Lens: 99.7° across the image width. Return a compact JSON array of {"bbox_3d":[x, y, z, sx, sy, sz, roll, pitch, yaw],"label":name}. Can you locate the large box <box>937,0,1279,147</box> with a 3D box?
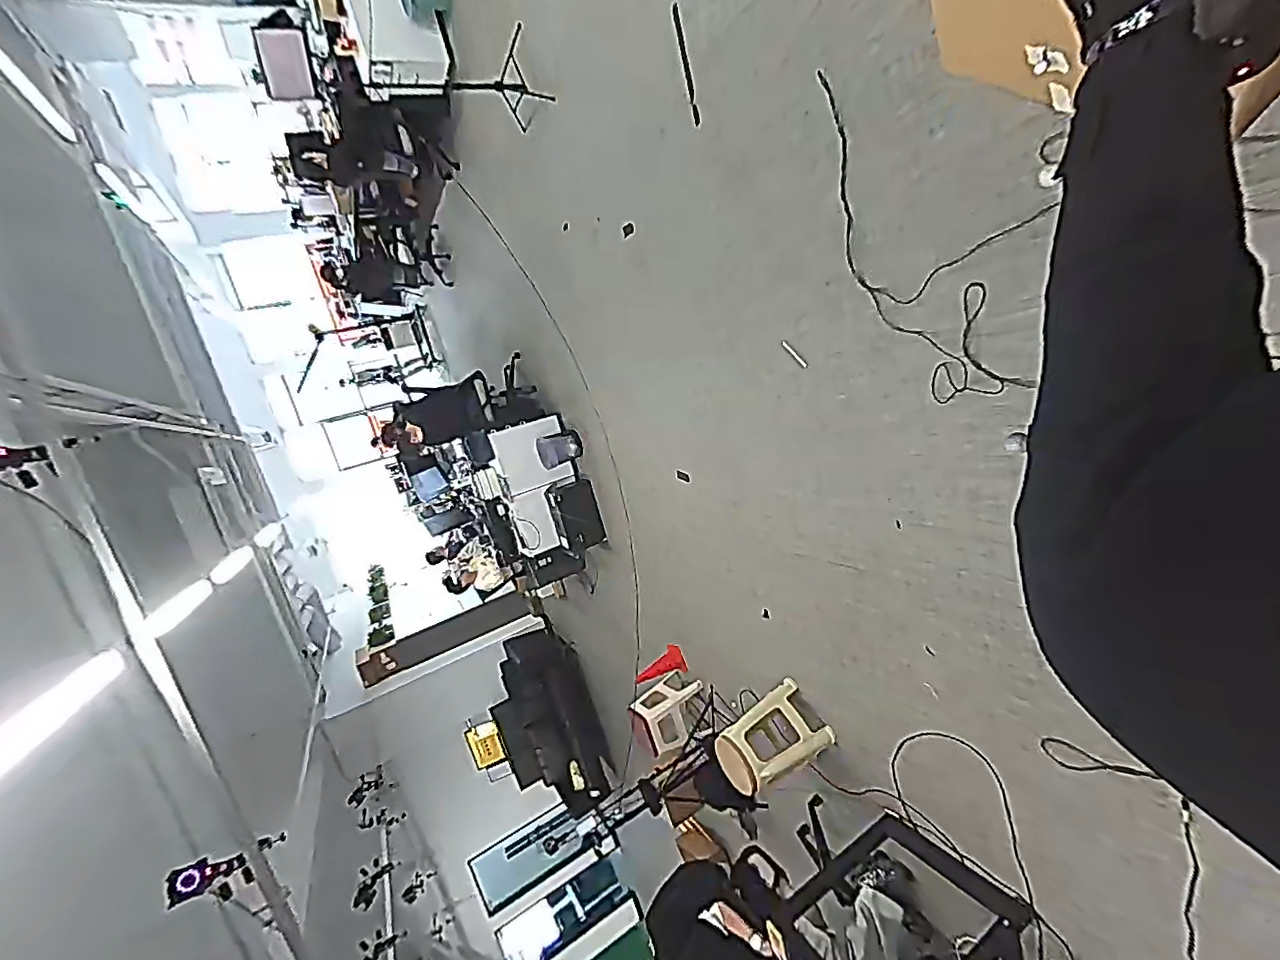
[{"bbox_3d":[0.497,-0.574,0.421,0.320,0.320,0.408,45,114,26],"label":"large box"}]
